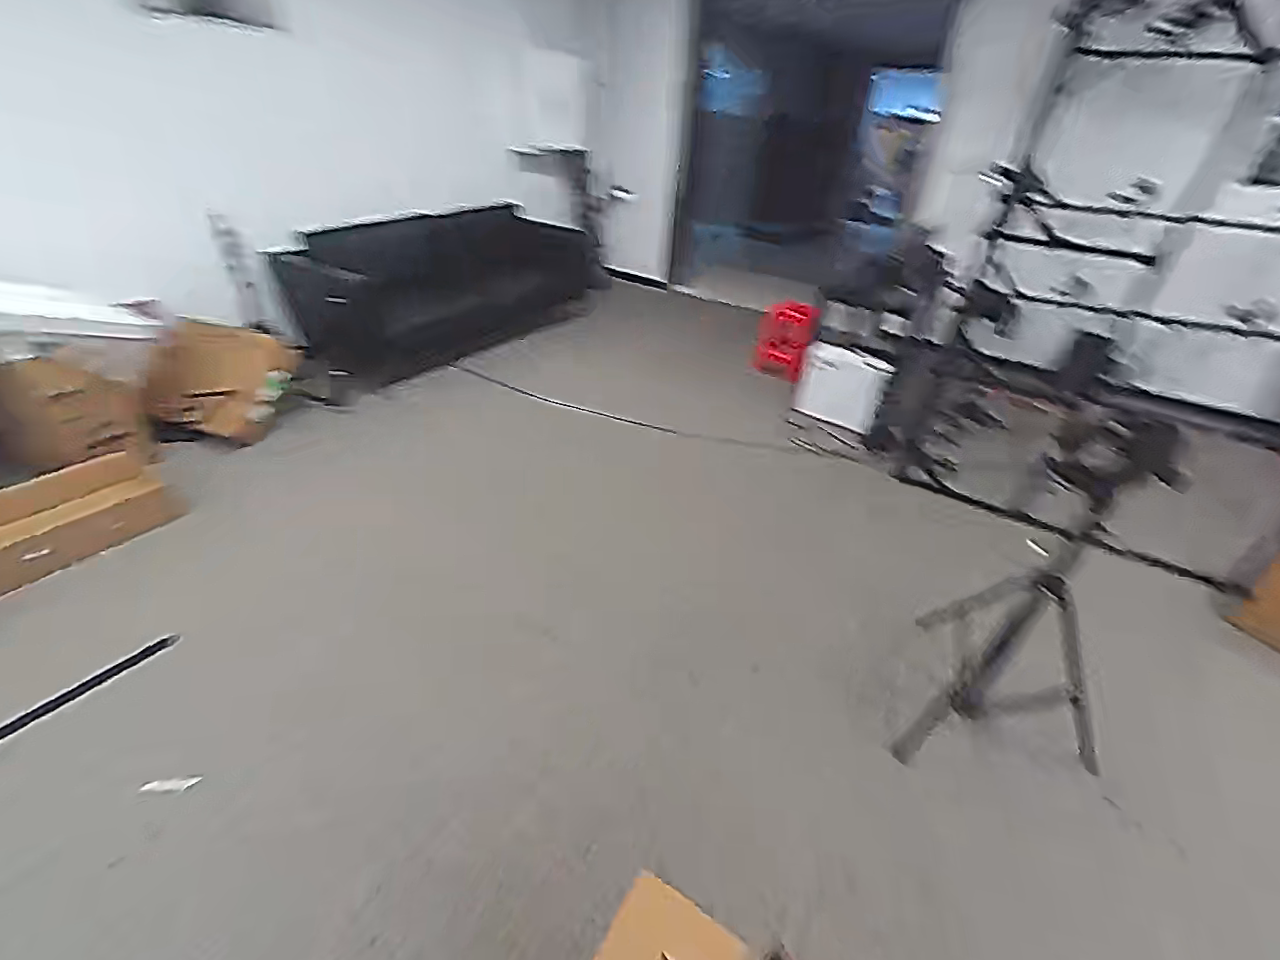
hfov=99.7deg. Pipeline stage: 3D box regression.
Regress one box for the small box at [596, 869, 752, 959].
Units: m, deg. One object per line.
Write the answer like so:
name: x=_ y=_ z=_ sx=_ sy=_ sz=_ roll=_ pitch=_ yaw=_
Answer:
small box: x=0.031 y=0.686 z=0.724 sx=0.168 sy=0.176 sz=0.179 roll=21 pitch=40 yaw=26
